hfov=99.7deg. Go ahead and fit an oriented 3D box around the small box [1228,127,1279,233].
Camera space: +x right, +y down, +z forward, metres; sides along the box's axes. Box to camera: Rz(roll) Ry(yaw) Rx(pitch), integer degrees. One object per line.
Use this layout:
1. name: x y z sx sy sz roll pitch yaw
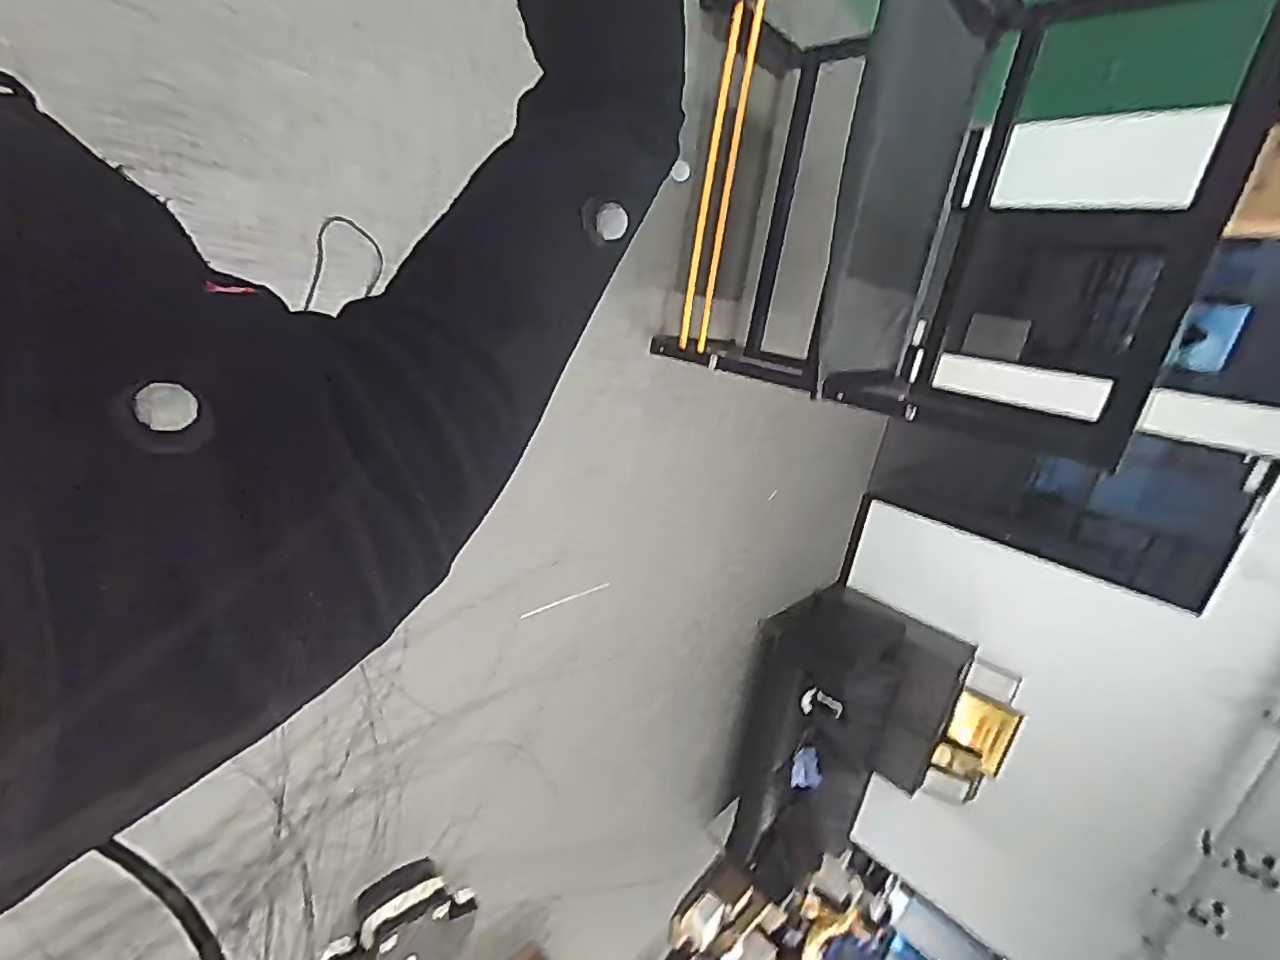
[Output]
1. small box: 1.279 -0.572 1.034 0.179 0.176 0.168 -15 120 -44
